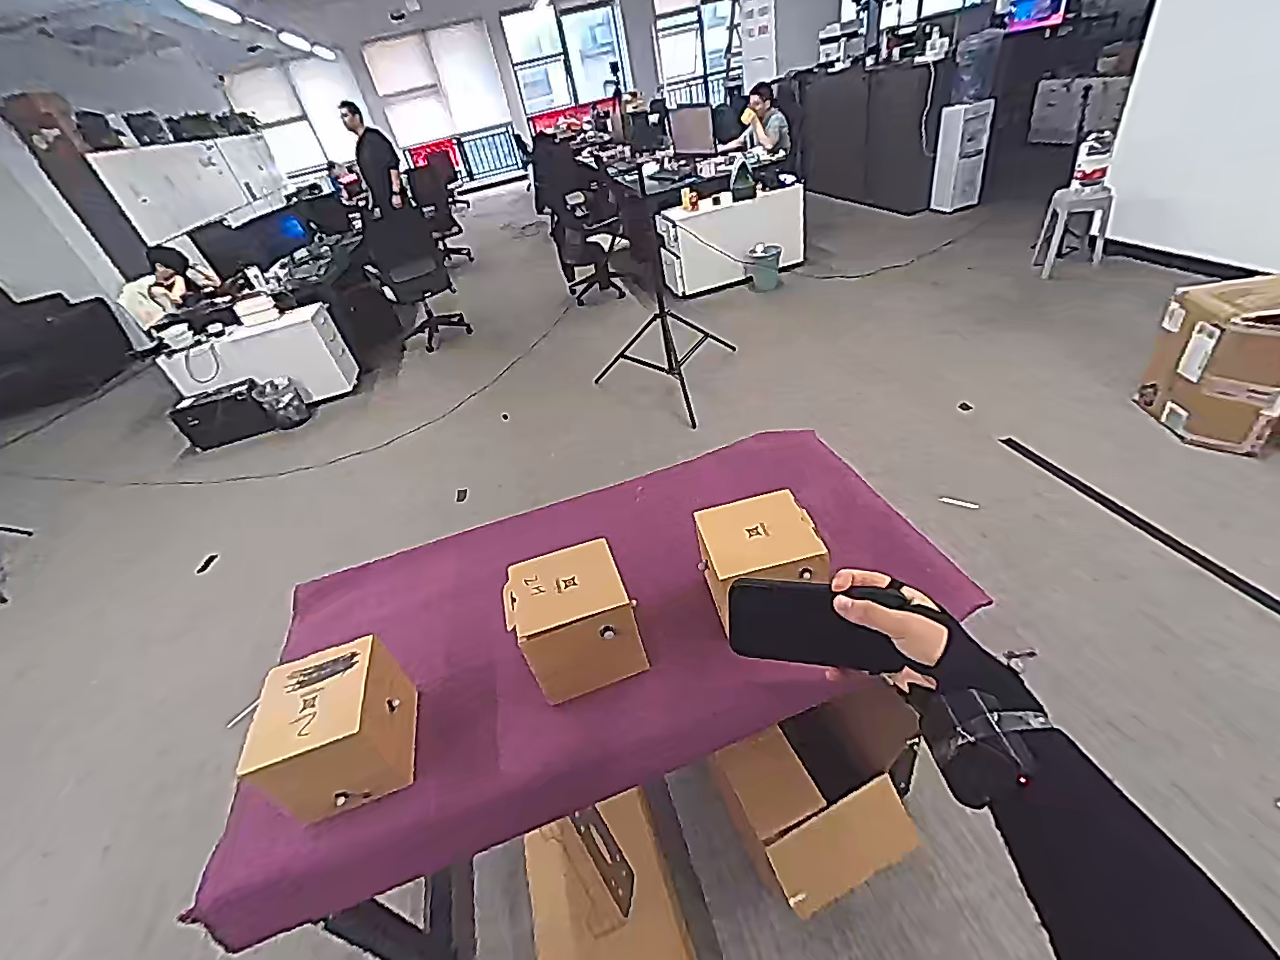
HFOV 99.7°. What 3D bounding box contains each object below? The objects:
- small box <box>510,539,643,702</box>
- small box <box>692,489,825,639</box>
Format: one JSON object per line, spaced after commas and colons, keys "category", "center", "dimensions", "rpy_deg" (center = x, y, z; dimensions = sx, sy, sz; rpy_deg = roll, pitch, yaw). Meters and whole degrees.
{"category": "small box", "center": [-0.103, 0.234, 0.905], "dimensions": [0.179, 0.176, 0.168], "rpy_deg": [-19, 35, -7]}
{"category": "small box", "center": [0.203, 0.145, 0.927], "dimensions": [0.179, 0.176, 0.168], "rpy_deg": [-15, 37, -2]}
